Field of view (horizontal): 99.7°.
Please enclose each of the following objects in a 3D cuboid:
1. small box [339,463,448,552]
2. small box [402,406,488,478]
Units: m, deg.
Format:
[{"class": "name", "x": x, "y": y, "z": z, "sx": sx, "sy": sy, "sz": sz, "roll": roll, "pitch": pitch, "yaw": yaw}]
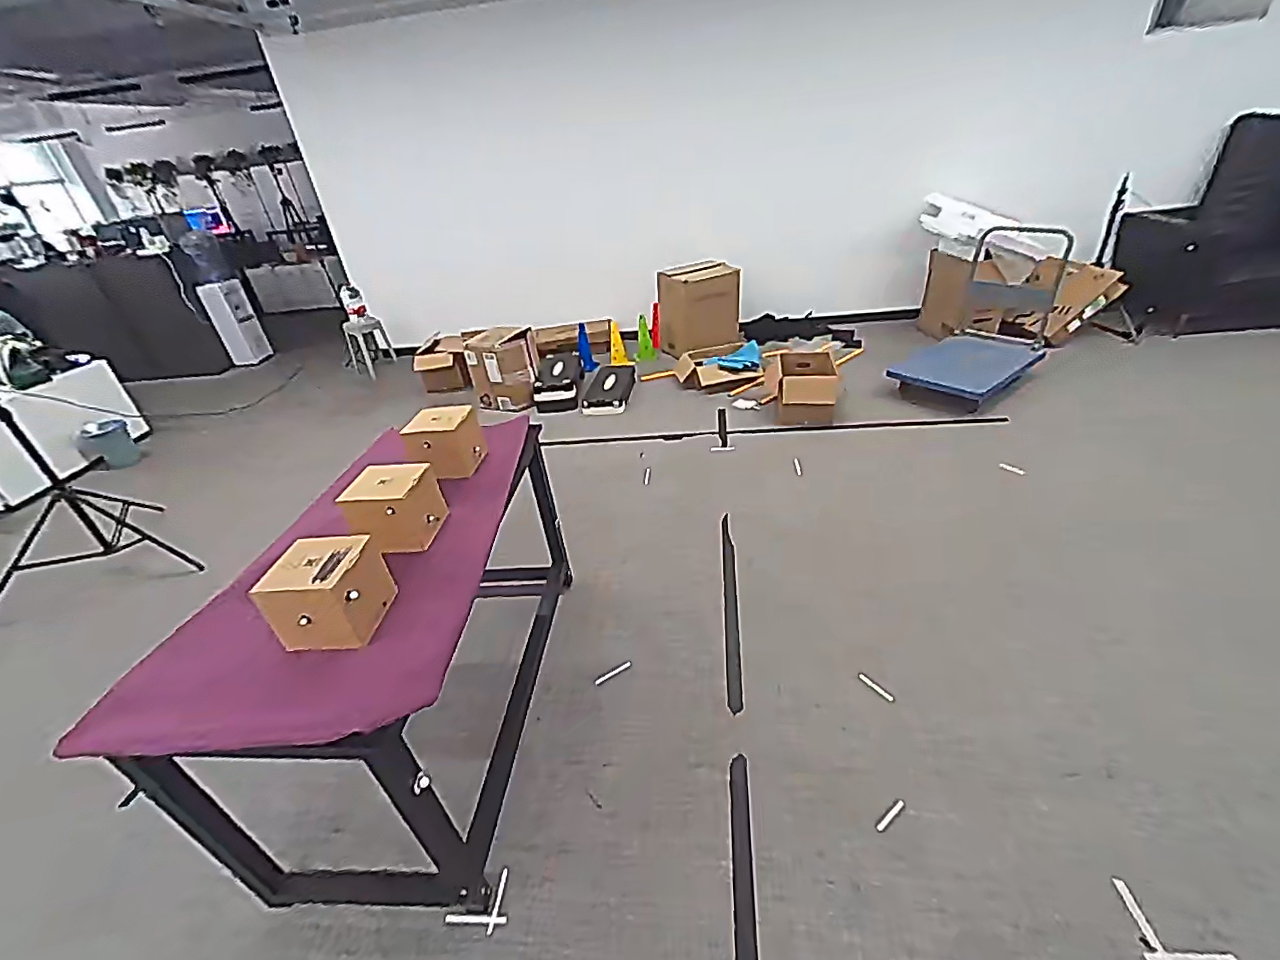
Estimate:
[{"class": "small box", "x": -0.627, "y": 0.073, "z": 1.400, "sx": 0.179, "sy": 0.176, "sz": 0.168, "roll": -3, "pitch": 32, "yaw": 6}, {"class": "small box", "x": -0.599, "y": -0.115, "z": 1.682, "sx": 0.179, "sy": 0.176, "sz": 0.168, "roll": -3, "pitch": 33, "yaw": 9}]
